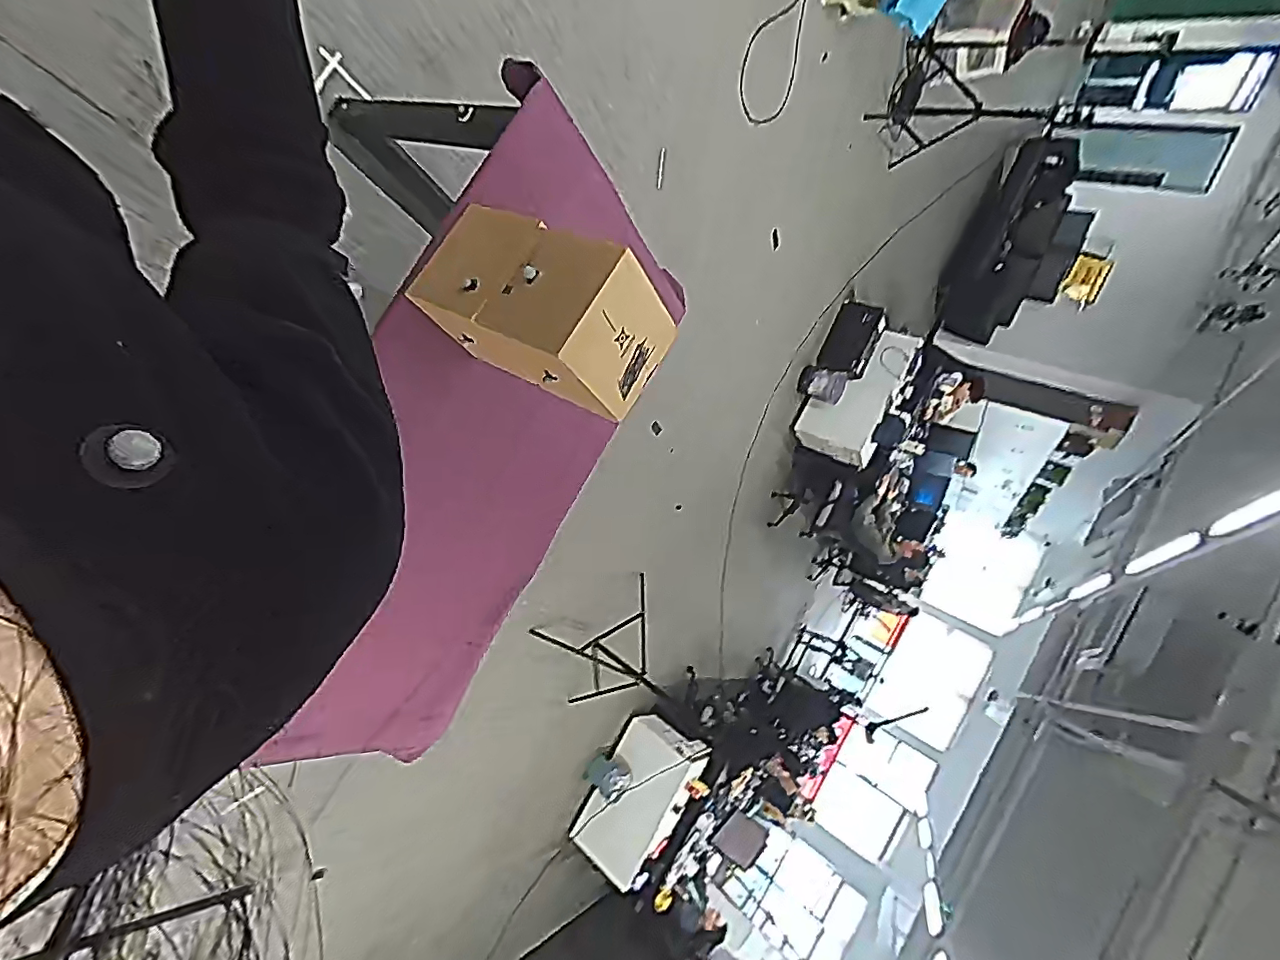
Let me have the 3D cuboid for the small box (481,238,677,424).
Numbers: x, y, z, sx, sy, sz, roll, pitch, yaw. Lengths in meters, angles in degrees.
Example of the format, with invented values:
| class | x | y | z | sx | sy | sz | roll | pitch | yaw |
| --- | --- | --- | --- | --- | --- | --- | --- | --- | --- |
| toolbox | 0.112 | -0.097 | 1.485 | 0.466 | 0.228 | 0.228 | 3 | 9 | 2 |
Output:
| class | x | y | z | sx | sy | sz | roll | pitch | yaw |
| --- | --- | --- | --- | --- | --- | --- | --- | --- | --- |
| small box | -0.081 | -0.211 | 0.758 | 0.168 | 0.176 | 0.179 | -58 | 148 | -7 |

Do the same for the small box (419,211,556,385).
| class | x | y | z | sx | sy | sz | roll | pitch | yaw |
| --- | --- | --- | --- | --- | --- | --- | --- | --- | --- |
| small box | -0.208 | -0.282 | 0.836 | 0.179 | 0.176 | 0.168 | -58 | 149 | -8 |
